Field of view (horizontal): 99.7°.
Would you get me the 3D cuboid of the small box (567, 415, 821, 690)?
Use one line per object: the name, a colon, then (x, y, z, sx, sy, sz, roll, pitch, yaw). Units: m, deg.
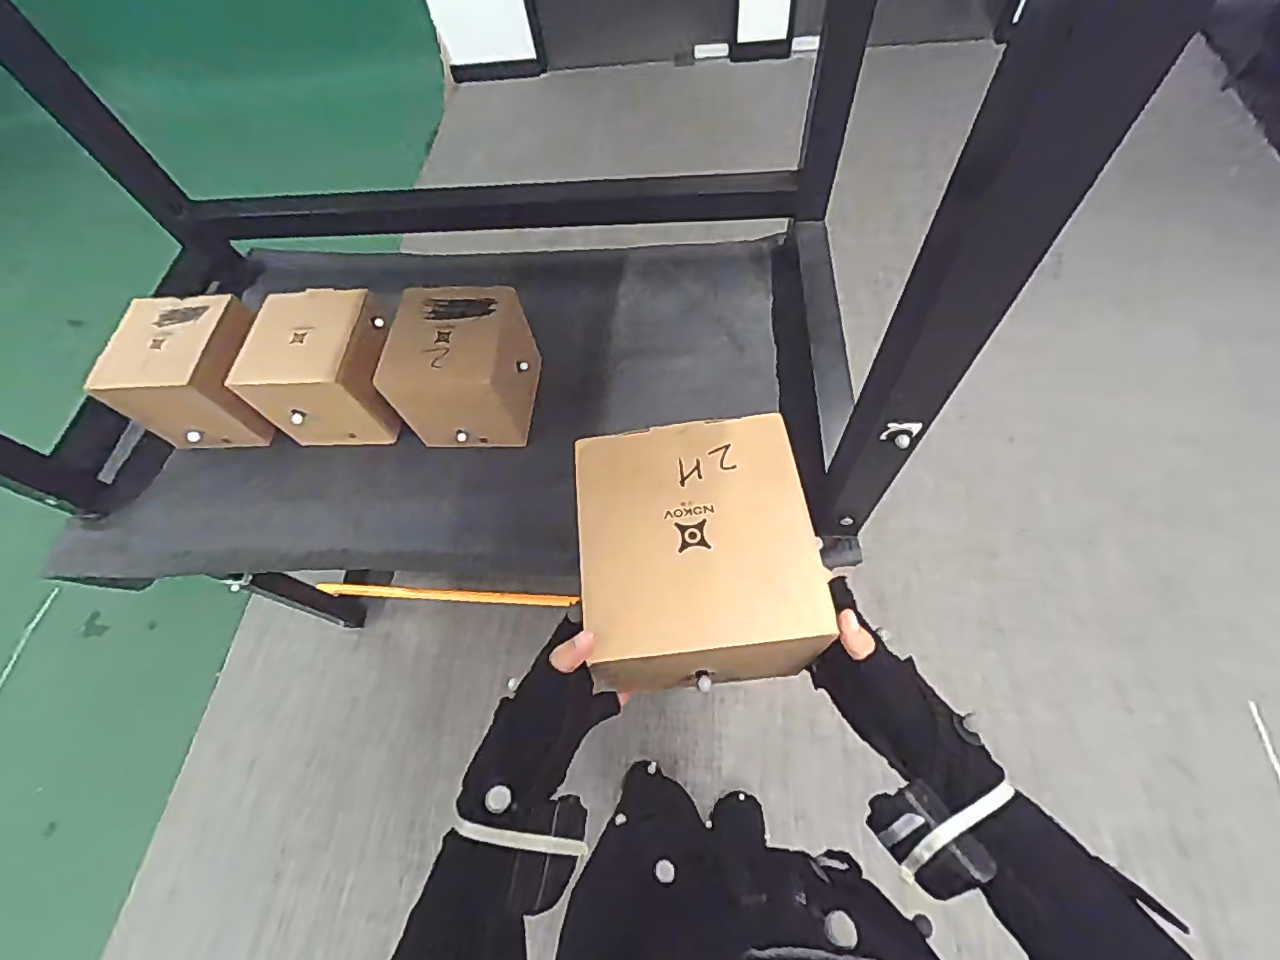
small box: (0.038, 0.073, 0.454, 0.168, 0.176, 0.179, -7, 60, 3)

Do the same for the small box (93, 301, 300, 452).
small box: (-0.694, -0.163, 0.874, 0.168, 0.176, 0.179, -2, 63, 6)
